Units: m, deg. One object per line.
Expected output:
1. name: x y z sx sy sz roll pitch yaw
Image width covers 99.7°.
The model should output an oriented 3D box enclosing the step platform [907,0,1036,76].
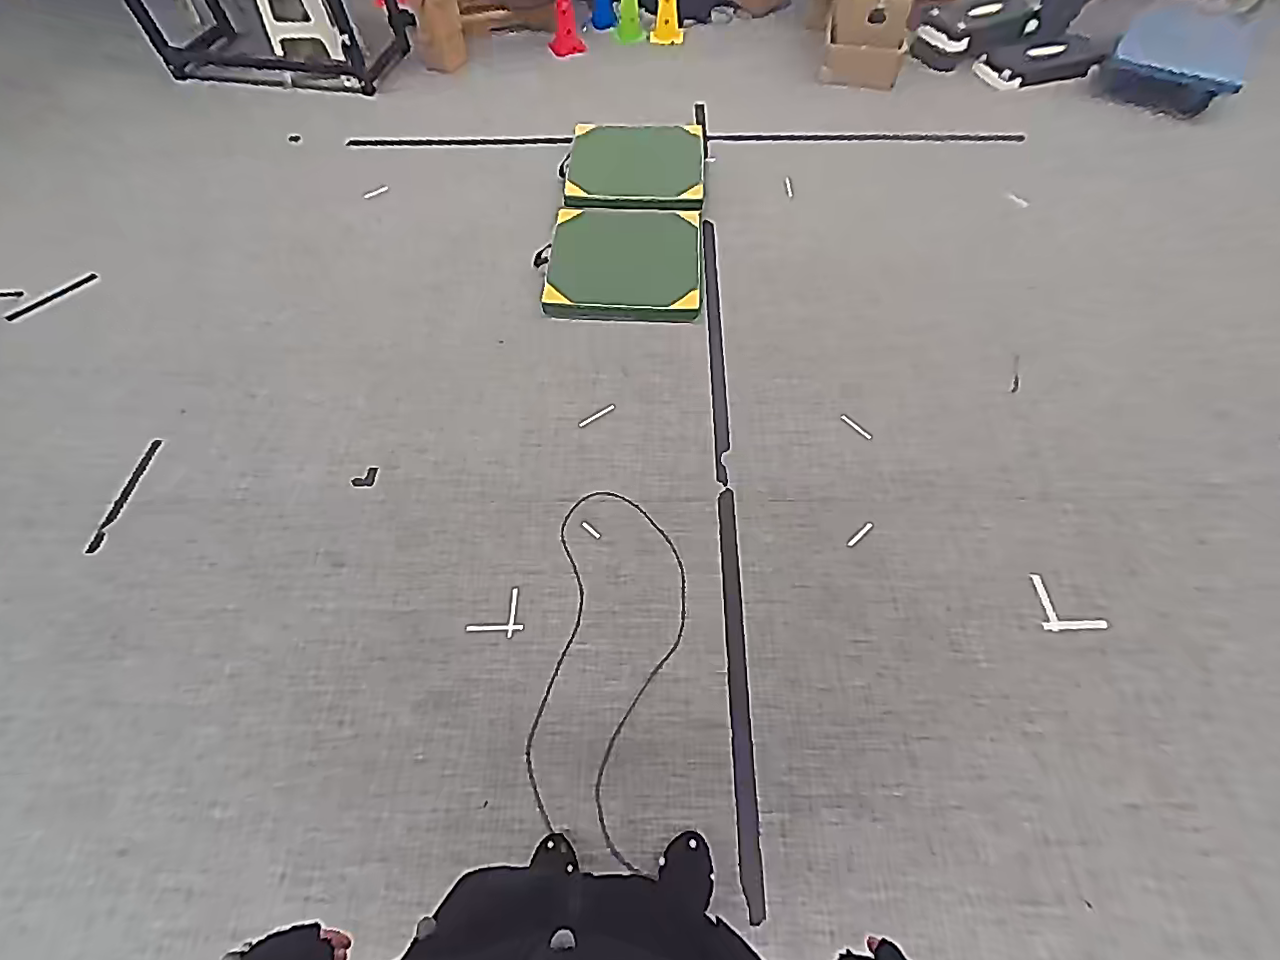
1. step platform: 1.892 -2.535 3.085 0.684 0.204 0.286 -25 63 -13
